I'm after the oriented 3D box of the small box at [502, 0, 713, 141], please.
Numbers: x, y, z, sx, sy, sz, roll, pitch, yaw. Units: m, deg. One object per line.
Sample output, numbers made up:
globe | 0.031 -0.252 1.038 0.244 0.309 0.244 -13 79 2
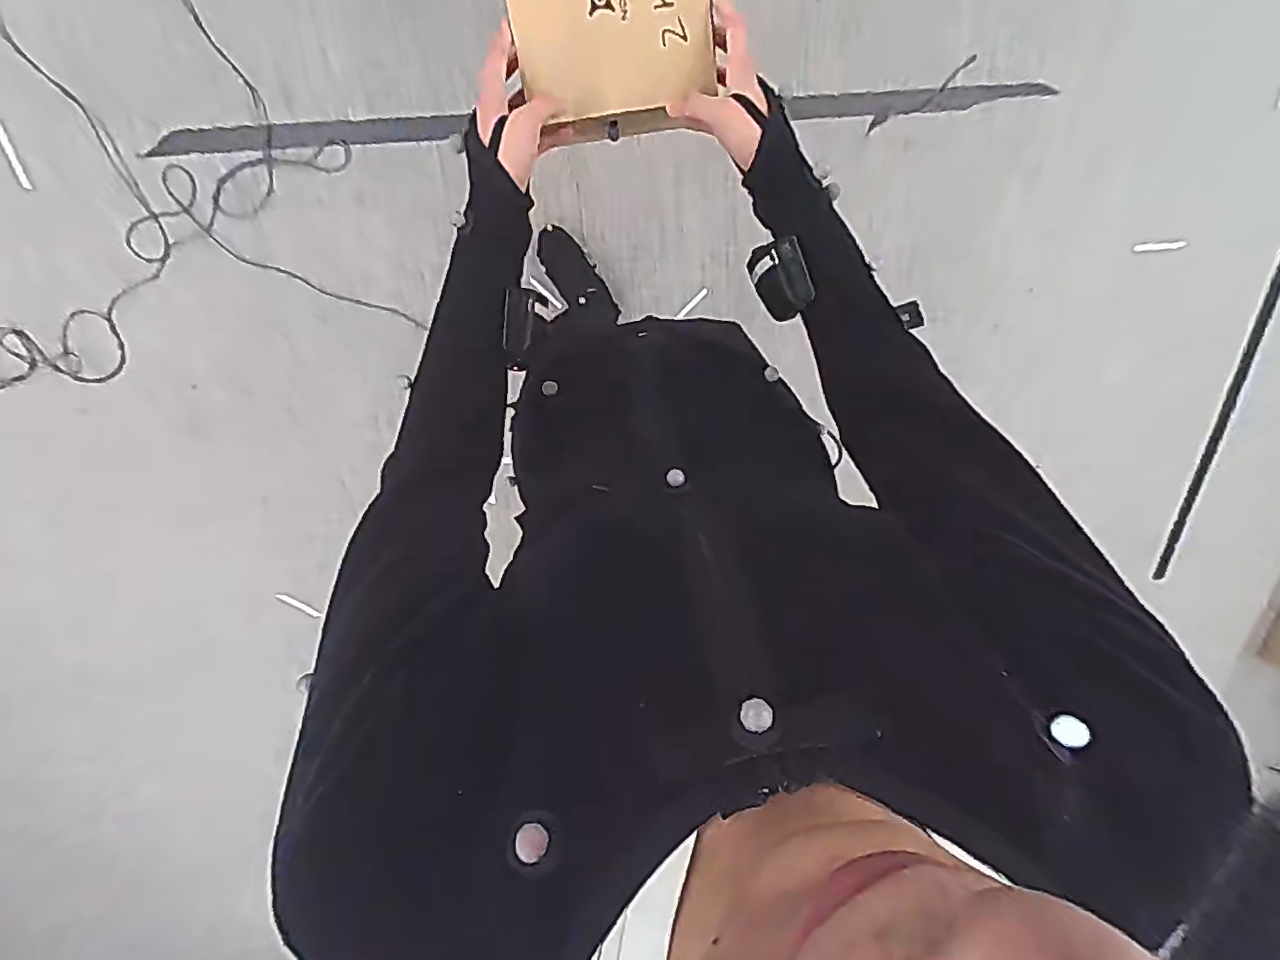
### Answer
small box | -0.033 -0.443 0.525 0.179 0.176 0.168 -8 117 0
